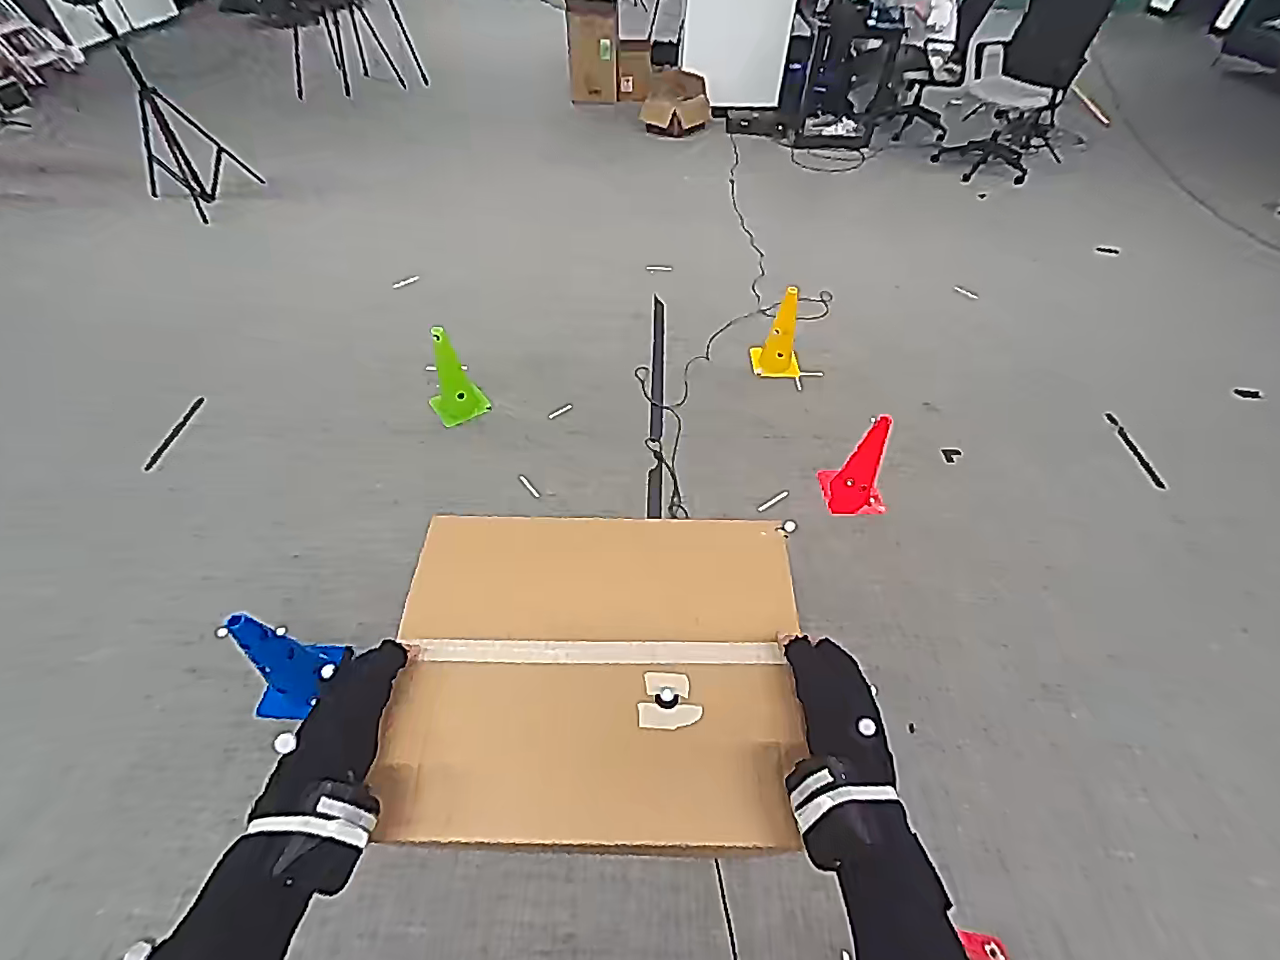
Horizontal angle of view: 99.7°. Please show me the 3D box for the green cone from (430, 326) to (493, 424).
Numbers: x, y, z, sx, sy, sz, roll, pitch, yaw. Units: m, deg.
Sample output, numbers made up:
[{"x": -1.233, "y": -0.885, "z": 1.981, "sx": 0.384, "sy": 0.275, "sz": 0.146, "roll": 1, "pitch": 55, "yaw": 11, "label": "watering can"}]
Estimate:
[{"x": -0.722, "y": -0.426, "z": 2.058, "sx": 0.202, "sy": 0.368, "sz": 0.200, "roll": -29, "pitch": 55, "yaw": -22, "label": "green cone"}]

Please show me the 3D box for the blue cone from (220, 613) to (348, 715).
[{"x": -0.907, "y": 0.432, "z": 1.344, "sx": 0.192, "sy": 0.380, "sz": 0.193, "roll": 3, "pitch": 49, "yaw": 3, "label": "blue cone"}]

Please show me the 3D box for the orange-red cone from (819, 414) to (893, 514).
[{"x": 0.751, "y": -0.076, "z": 1.788, "sx": 0.198, "sy": 0.360, "sz": 0.199, "roll": 0, "pitch": 48, "yaw": -2, "label": "orange-red cone"}]

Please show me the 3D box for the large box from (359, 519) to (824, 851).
[{"x": -0.042, "y": 0.260, "z": 0.662, "sx": 0.408, "sy": 0.320, "sz": 0.320, "roll": 2, "pitch": 54, "yaw": 0, "label": "large box"}]
